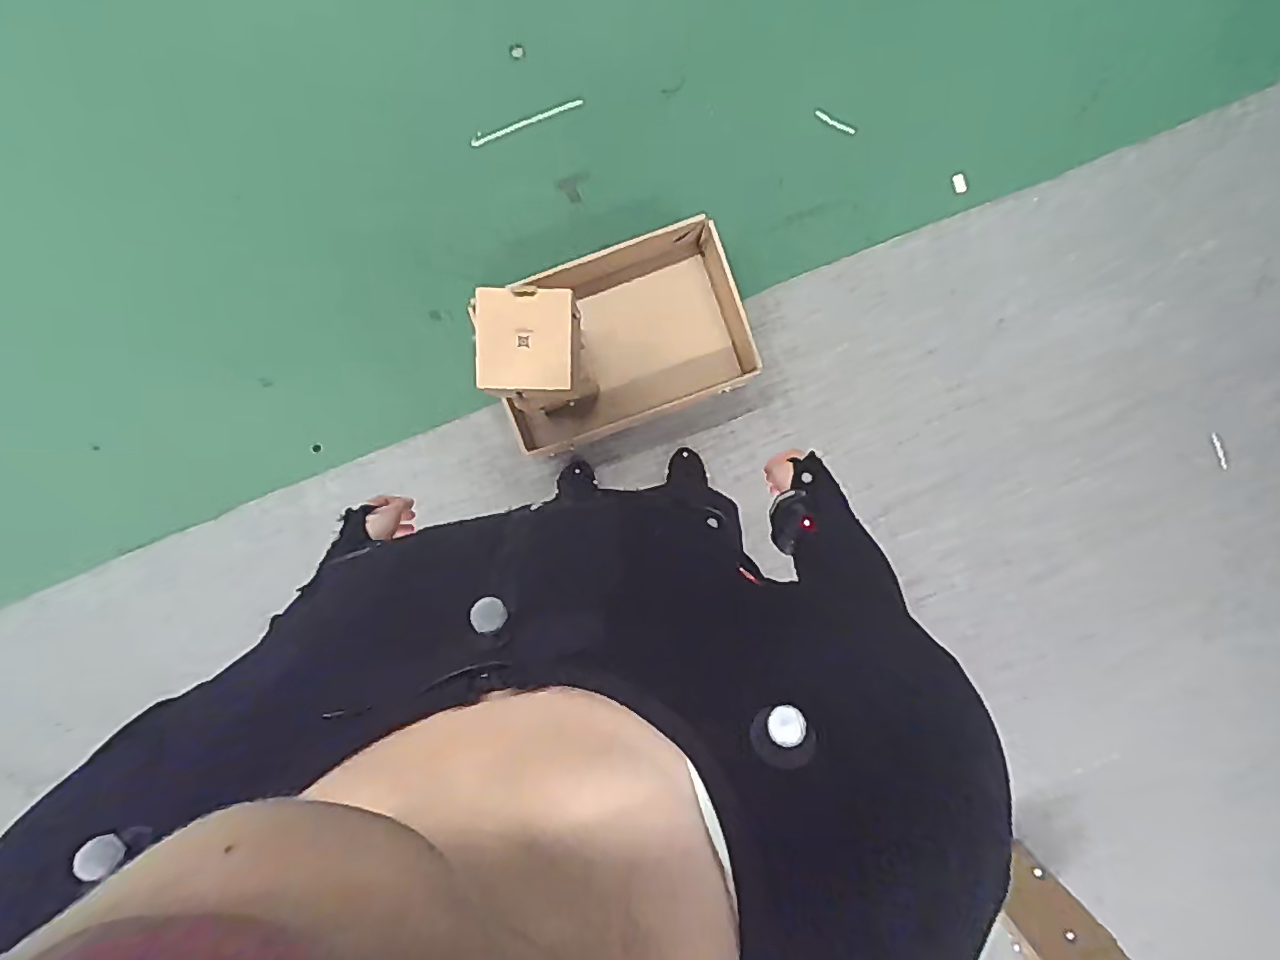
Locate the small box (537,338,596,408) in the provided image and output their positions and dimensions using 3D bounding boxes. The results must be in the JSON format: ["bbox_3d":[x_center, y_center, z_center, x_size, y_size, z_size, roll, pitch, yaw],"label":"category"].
[{"bbox_3d":[-0.216,-0.290,1.324,0.168,0.176,0.179,-23,94,0],"label":"small box"}]

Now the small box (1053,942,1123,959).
[{"bbox_3d":[1.025,1.165,1.171,0.179,0.176,0.168,-24,93,-1],"label":"small box"}]

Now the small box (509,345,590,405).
[{"bbox_3d":[-0.213,-0.268,1.161,0.168,0.176,0.179,-21,93,-1],"label":"small box"}]

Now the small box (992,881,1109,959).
[{"bbox_3d":[1.024,1.148,1.334,0.179,0.176,0.168,-24,93,1],"label":"small box"}]

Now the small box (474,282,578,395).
[{"bbox_3d":[-0.202,-0.252,0.999,0.168,0.176,0.179,1,93,-2],"label":"small box"}]
